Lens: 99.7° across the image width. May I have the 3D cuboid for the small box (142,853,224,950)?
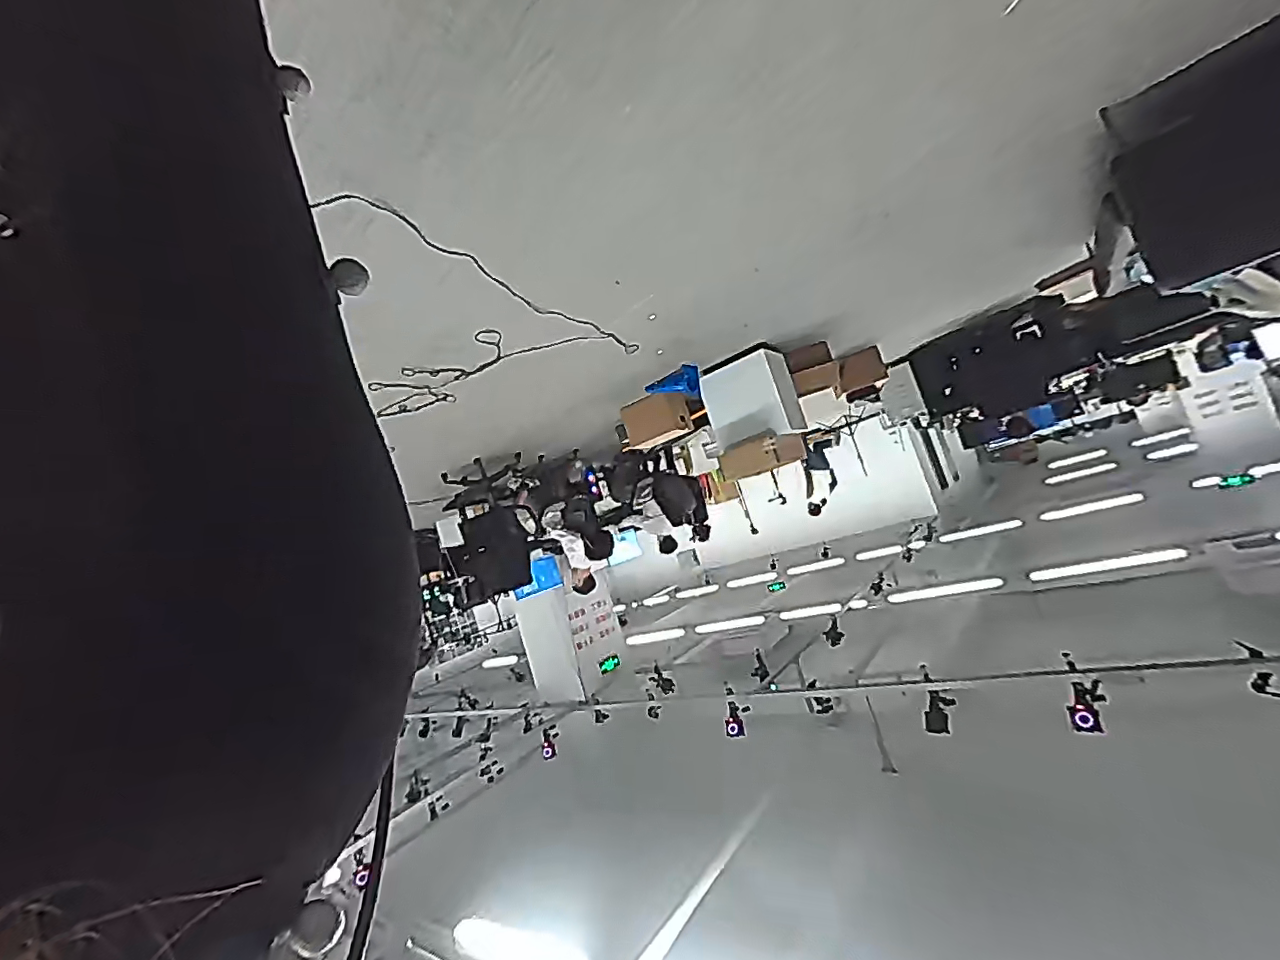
[{"bbox_3d":[-1.446,1.317,1.709,0.179,0.176,0.168,-22,172,41],"label":"small box"}]
